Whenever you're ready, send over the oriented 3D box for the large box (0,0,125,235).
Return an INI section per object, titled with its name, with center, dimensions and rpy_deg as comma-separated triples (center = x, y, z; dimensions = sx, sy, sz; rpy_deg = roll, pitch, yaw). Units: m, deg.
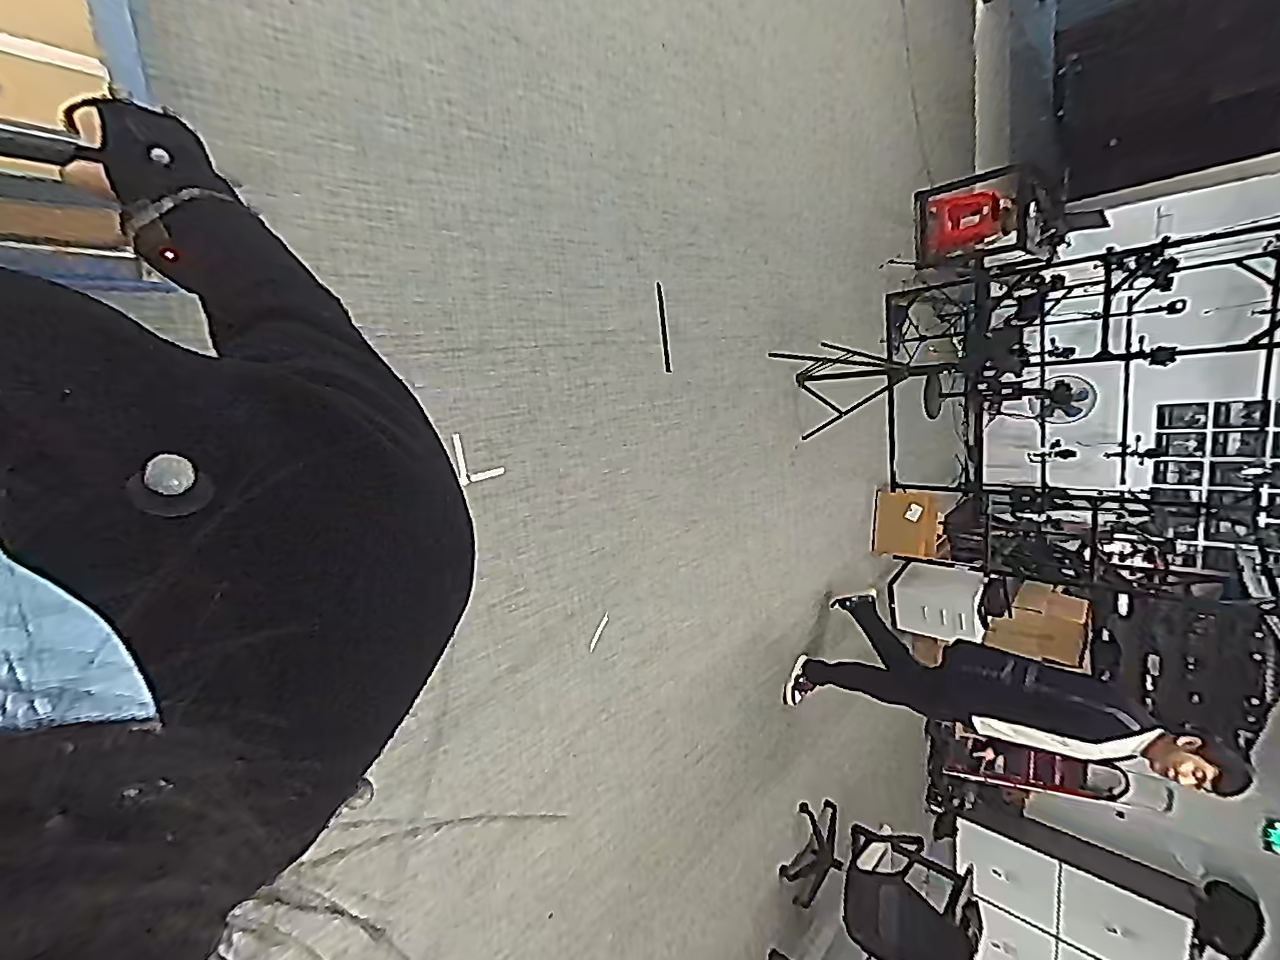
[large box]
center = -0.988, -0.540, 0.701
dimensions = 0.408, 0.320, 0.320
rpy_deg = -14, 104, -46
